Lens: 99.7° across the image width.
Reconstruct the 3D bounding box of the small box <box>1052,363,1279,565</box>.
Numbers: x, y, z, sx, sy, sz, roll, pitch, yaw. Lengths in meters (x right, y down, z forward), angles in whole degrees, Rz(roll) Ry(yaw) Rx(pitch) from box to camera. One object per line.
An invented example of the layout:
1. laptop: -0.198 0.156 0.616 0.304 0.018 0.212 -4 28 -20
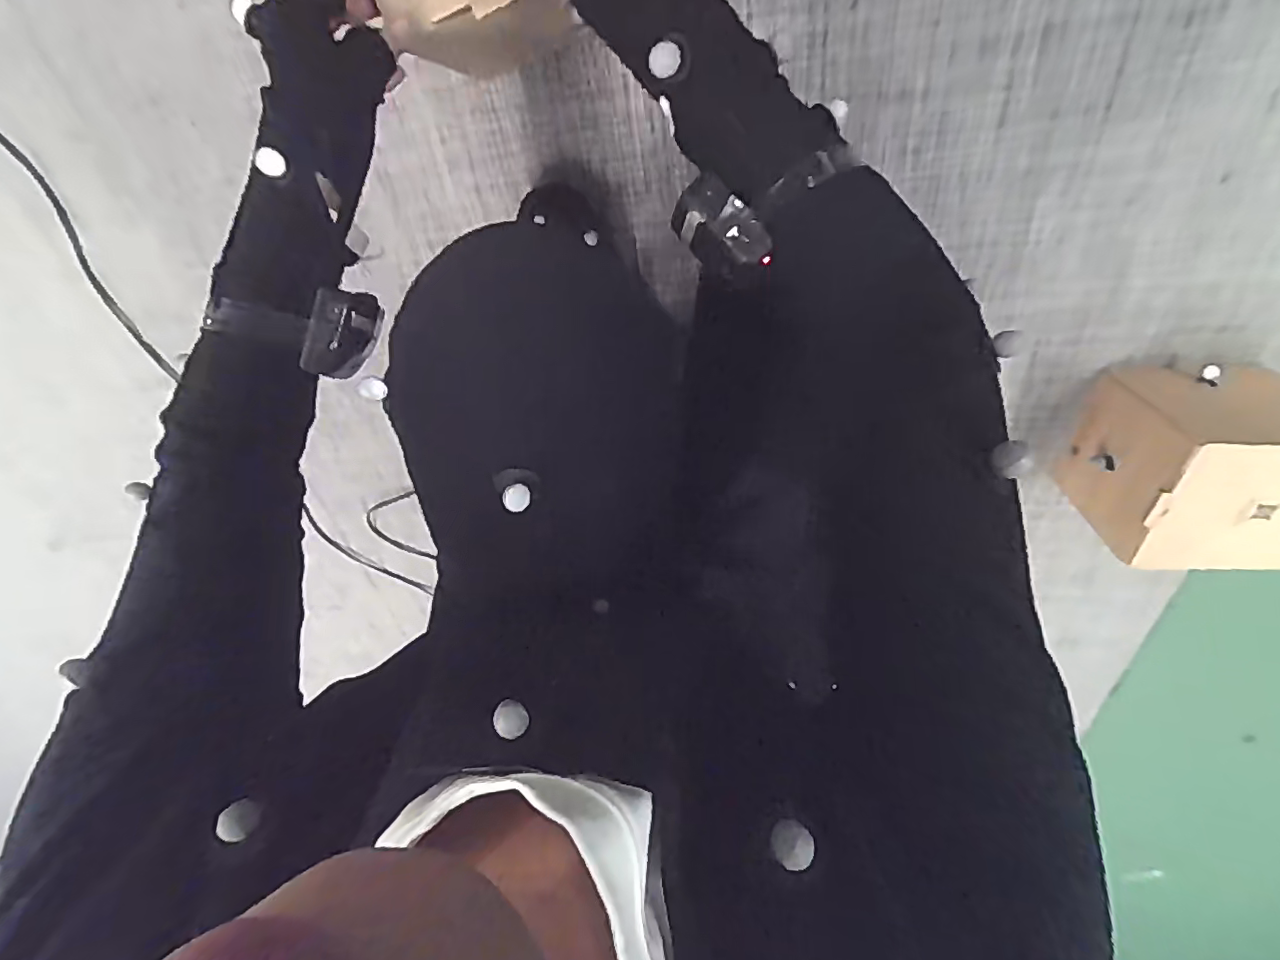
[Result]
1. small box: 0.622 -0.024 0.615 0.179 0.176 0.168 1 127 8
